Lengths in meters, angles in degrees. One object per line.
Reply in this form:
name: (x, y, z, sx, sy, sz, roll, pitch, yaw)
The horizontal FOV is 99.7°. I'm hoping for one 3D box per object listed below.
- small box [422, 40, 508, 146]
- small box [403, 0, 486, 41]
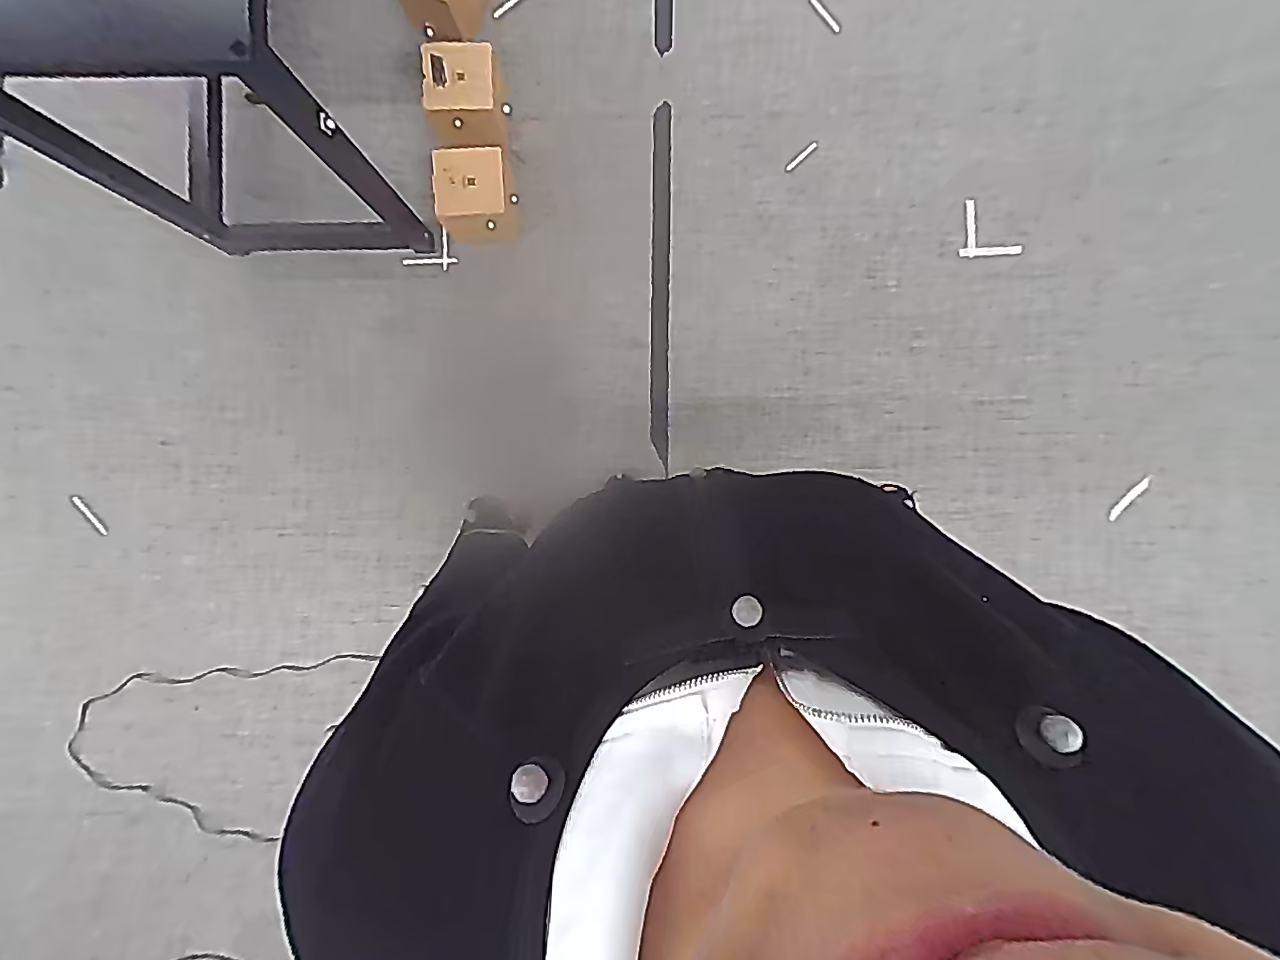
small box: (-0.453, -1.004, 1.416, 0.179, 0.176, 0.168, -1, 91, -1)
small box: (-0.520, -1.298, 1.412, 0.168, 0.176, 0.179, 21, 92, 1)
